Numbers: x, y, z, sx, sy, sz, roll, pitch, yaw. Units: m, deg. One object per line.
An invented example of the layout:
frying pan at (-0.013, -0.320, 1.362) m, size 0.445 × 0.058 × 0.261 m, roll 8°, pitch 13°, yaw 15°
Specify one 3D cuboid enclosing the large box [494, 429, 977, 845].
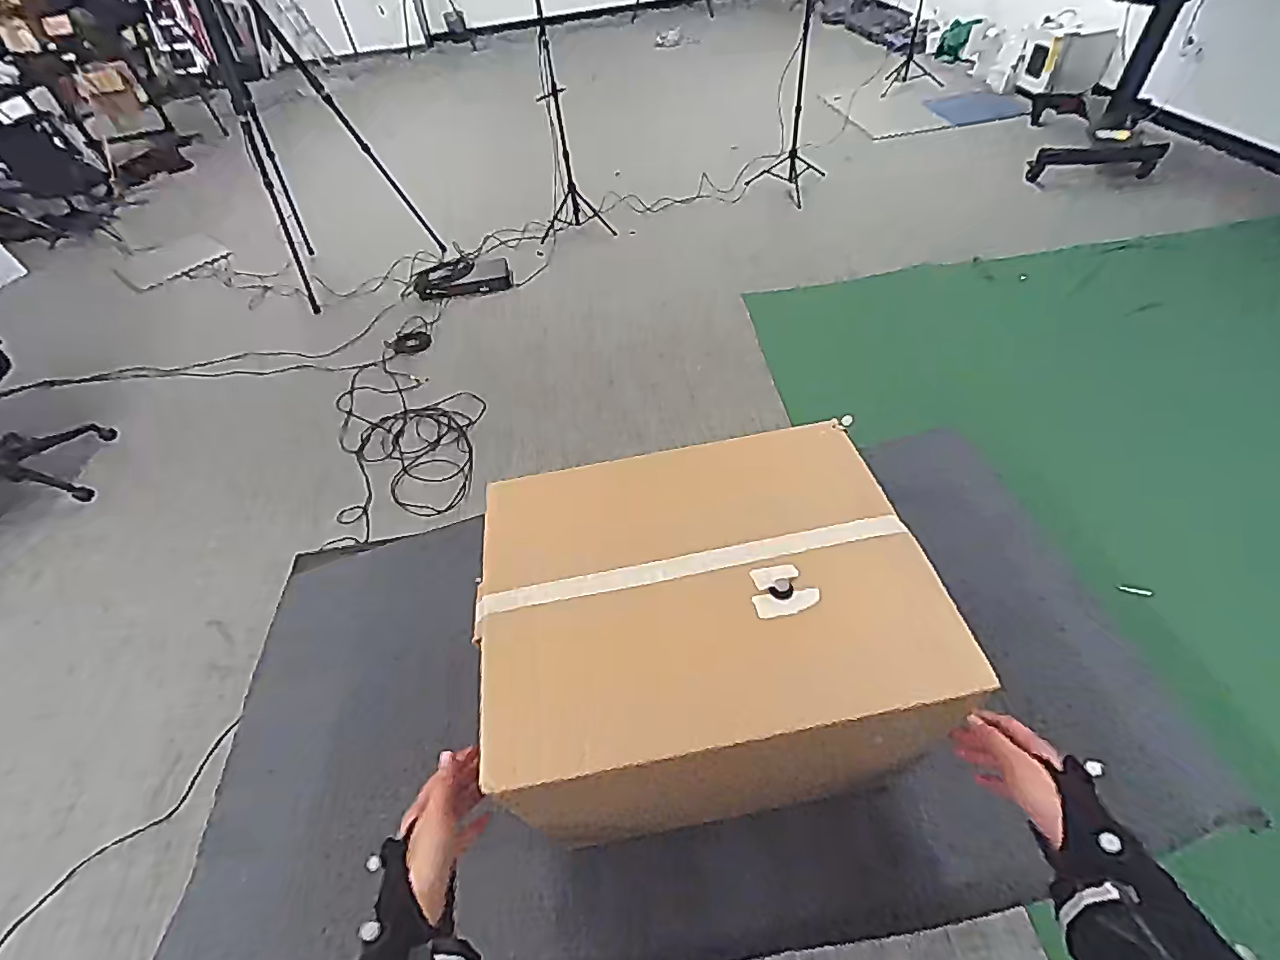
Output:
large box at (0.067, 0.186, 0.634) m, size 0.408 × 0.320 × 0.320 m, roll -10°, pitch 49°, yaw -3°
